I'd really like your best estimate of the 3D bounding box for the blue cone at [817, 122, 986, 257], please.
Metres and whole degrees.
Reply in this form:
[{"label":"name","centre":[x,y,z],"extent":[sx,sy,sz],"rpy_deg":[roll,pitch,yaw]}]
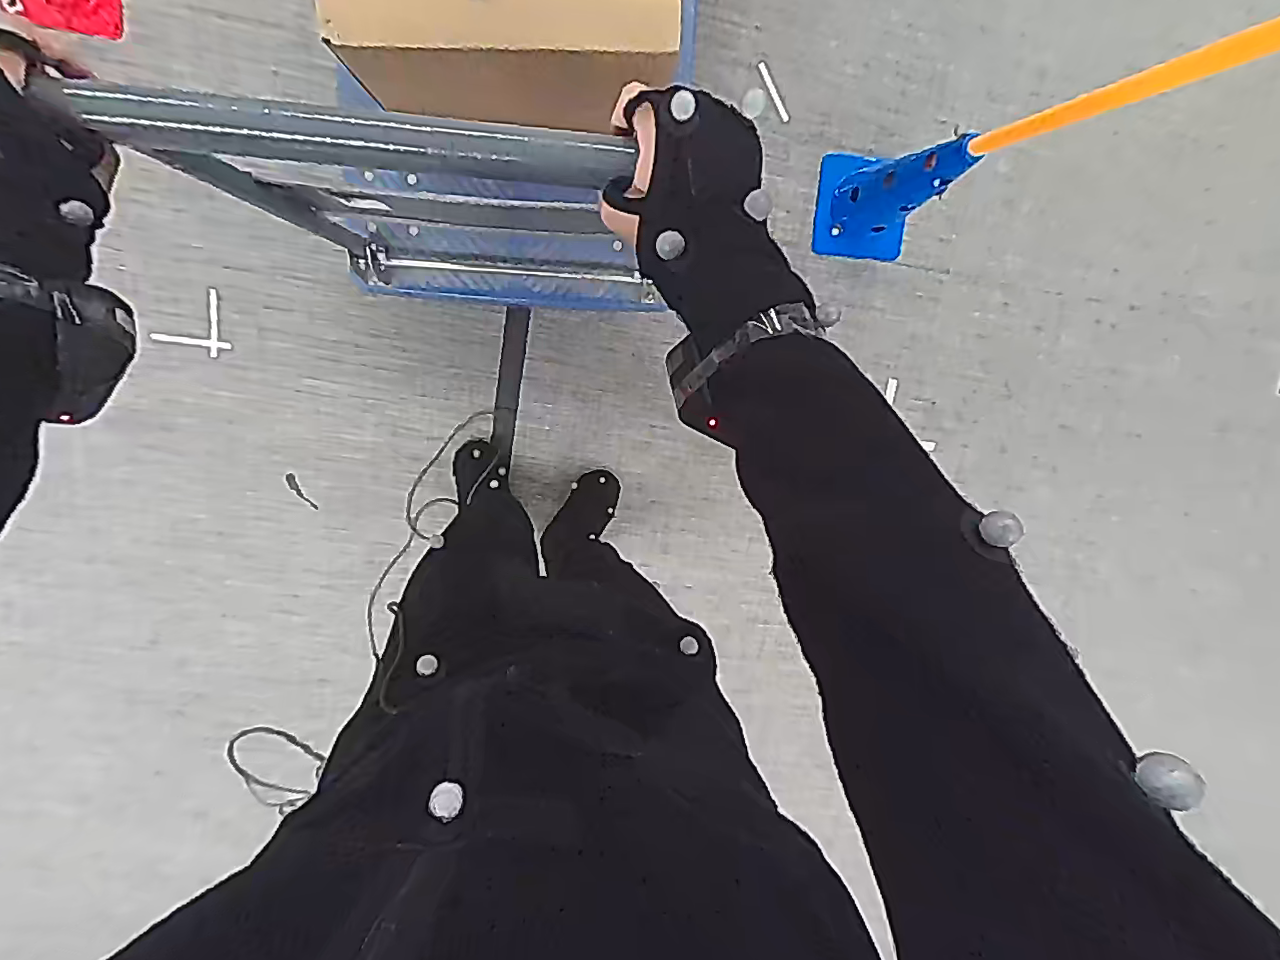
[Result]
[{"label":"blue cone","centre":[0.486,-0.545,0.992],"extent":[0.193,0.380,0.192],"rpy_deg":[4,102,-6]}]
